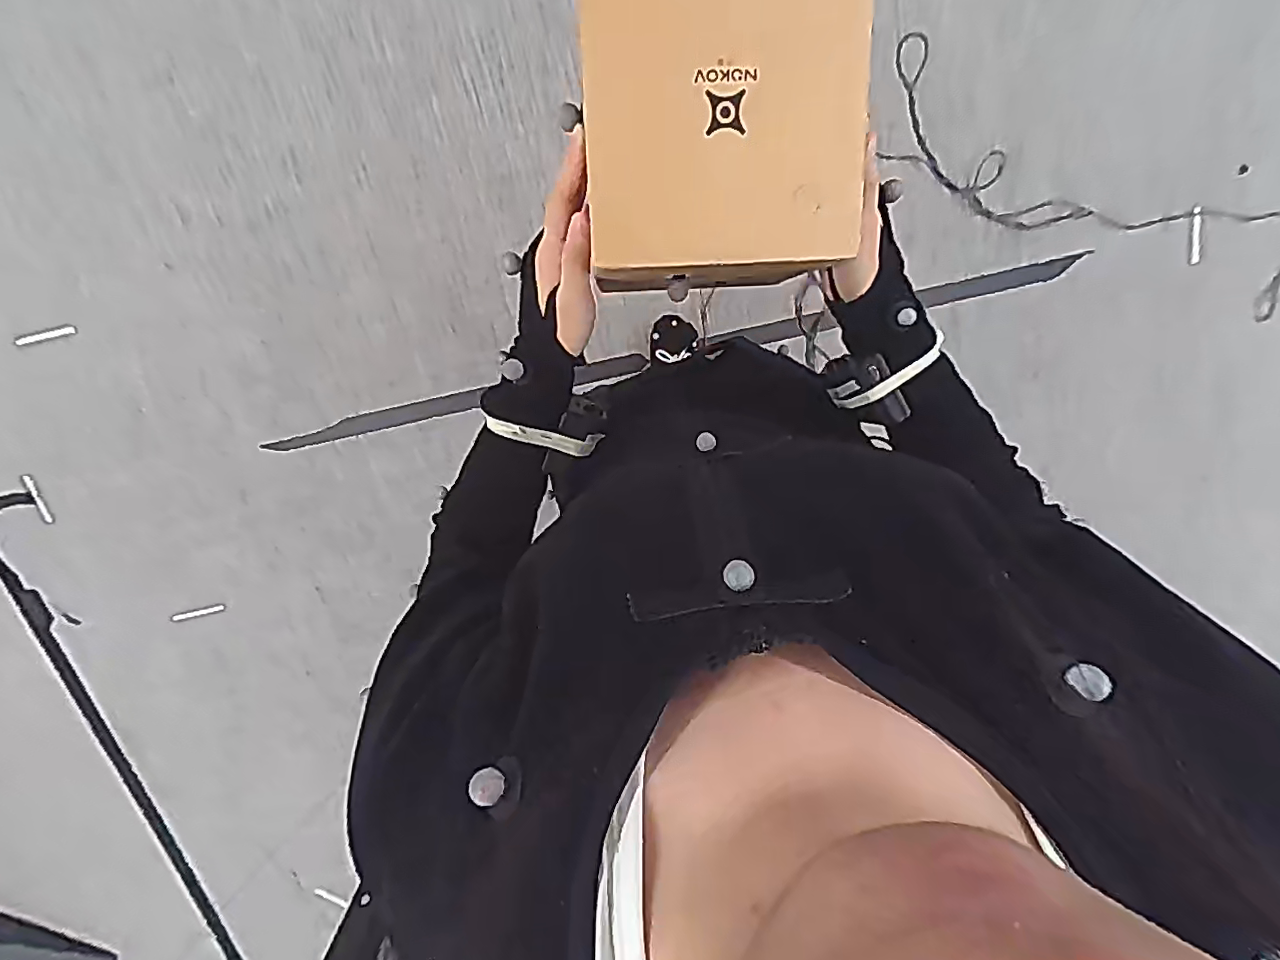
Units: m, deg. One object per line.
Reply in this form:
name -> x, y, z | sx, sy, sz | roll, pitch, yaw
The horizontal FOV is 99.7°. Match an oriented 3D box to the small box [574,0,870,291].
small box -> 0.046, -0.233, 0.388 | 0.168, 0.176, 0.179 | -4, 104, -1
